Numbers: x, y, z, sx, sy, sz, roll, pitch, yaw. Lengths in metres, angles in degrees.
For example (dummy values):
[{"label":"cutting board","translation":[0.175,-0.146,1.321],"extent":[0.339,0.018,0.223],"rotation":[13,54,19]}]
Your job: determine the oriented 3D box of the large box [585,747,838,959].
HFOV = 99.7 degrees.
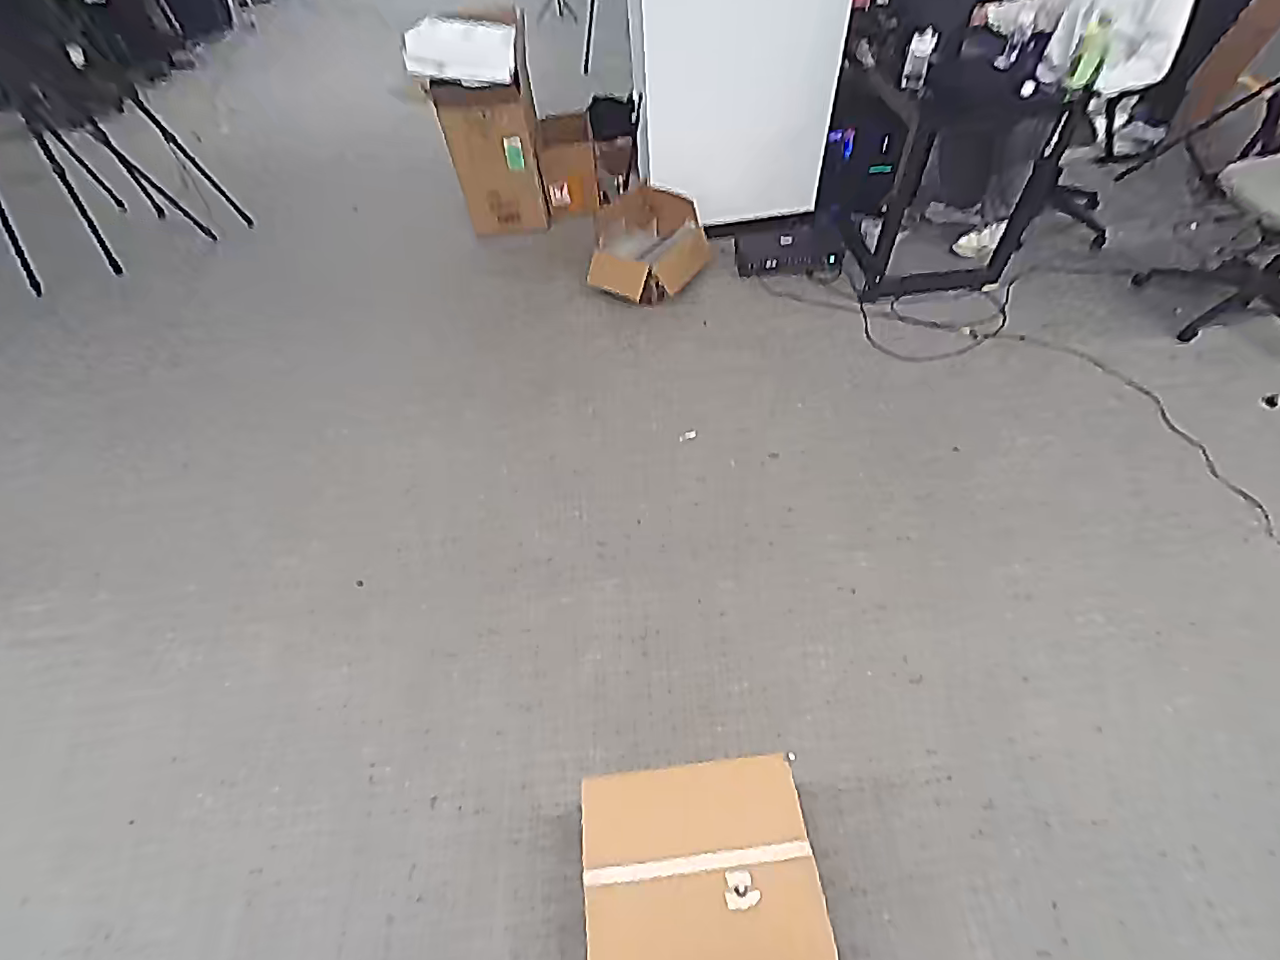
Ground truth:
[{"label":"large box","translation":[0.116,0.760,1.074],"extent":[0.408,0.320,0.320],"rotation":[-7,53,-1]}]
